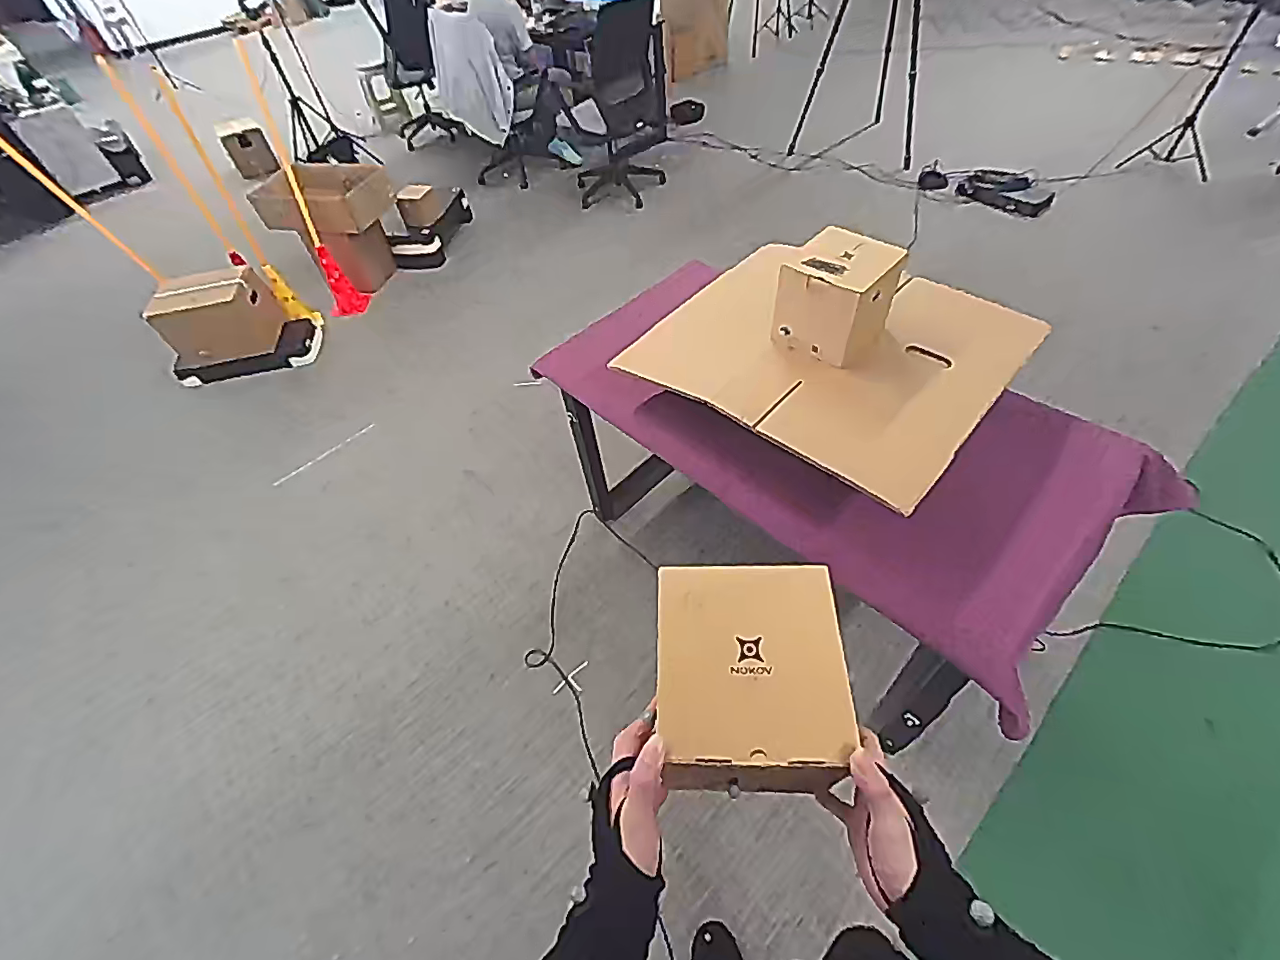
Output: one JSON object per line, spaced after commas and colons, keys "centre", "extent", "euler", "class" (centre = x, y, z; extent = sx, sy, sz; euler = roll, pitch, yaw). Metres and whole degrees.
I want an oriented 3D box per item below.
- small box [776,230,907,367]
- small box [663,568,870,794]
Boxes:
{"centre": [0.383, -0.351, 1.057], "extent": [0.168, 0.176, 0.179], "euler": [35, 62, 27], "class": "small box"}
{"centre": [0.106, 0.203, 0.541], "extent": [0.168, 0.176, 0.179], "euler": [-1, 55, 4], "class": "small box"}
